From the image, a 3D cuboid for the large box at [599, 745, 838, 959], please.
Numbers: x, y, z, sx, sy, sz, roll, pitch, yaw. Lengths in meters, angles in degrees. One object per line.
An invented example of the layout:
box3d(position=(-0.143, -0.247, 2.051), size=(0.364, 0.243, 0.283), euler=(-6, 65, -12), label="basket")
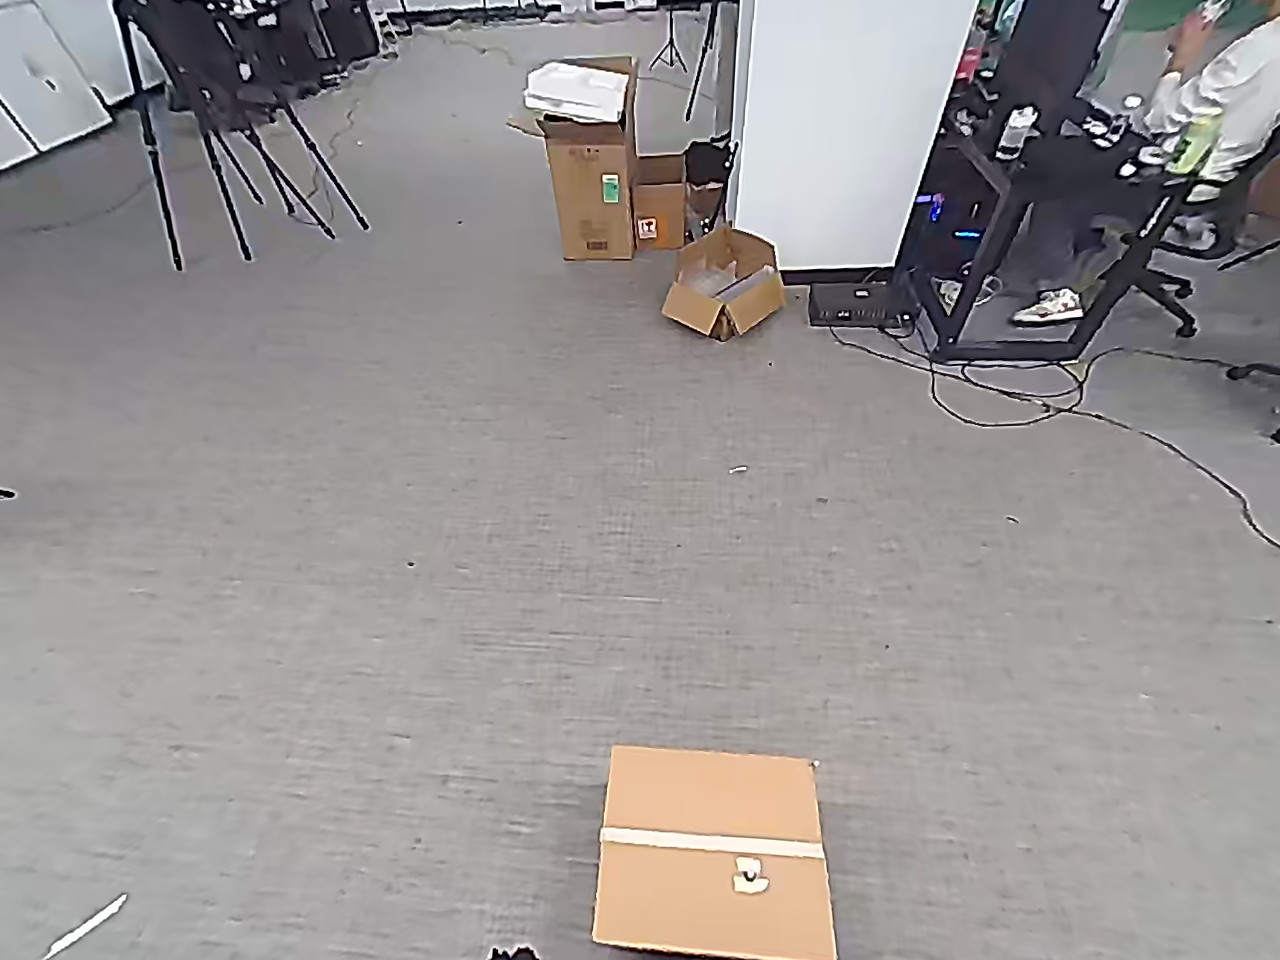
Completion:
box3d(position=(0.140, 0.760, 1.103), size=(0.408, 0.320, 0.320), euler=(2, 49, 4), label="large box")
